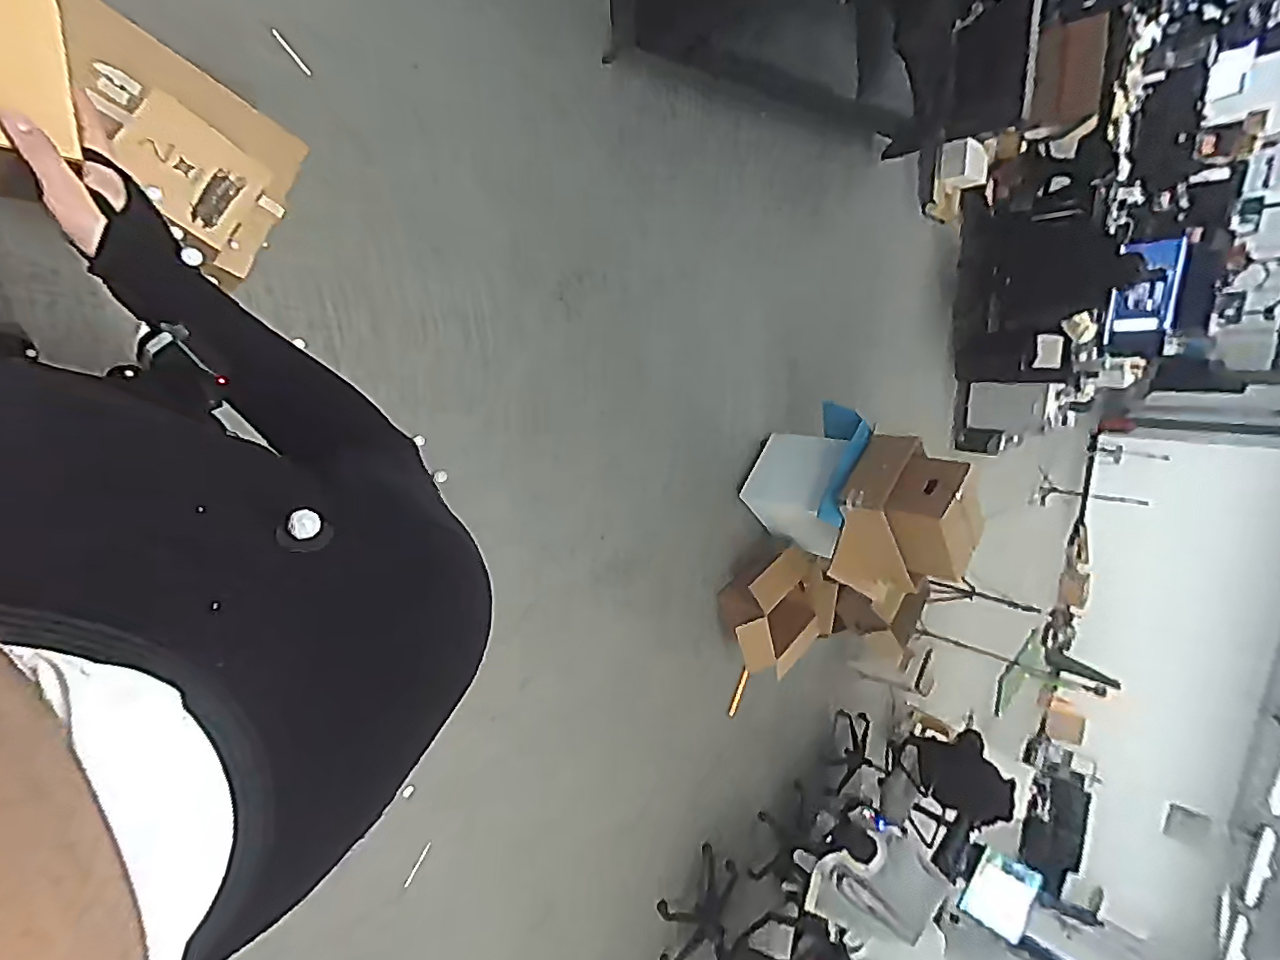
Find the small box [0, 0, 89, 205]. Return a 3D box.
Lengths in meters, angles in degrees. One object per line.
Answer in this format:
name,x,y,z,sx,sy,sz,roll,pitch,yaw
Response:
small box,-0.570,-0.334,0.427,0.179,0.176,0.168,-10,104,-43

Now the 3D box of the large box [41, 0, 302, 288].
large box,-0.962,-0.626,1.056,0.408,0.320,0.320,26,80,-42
